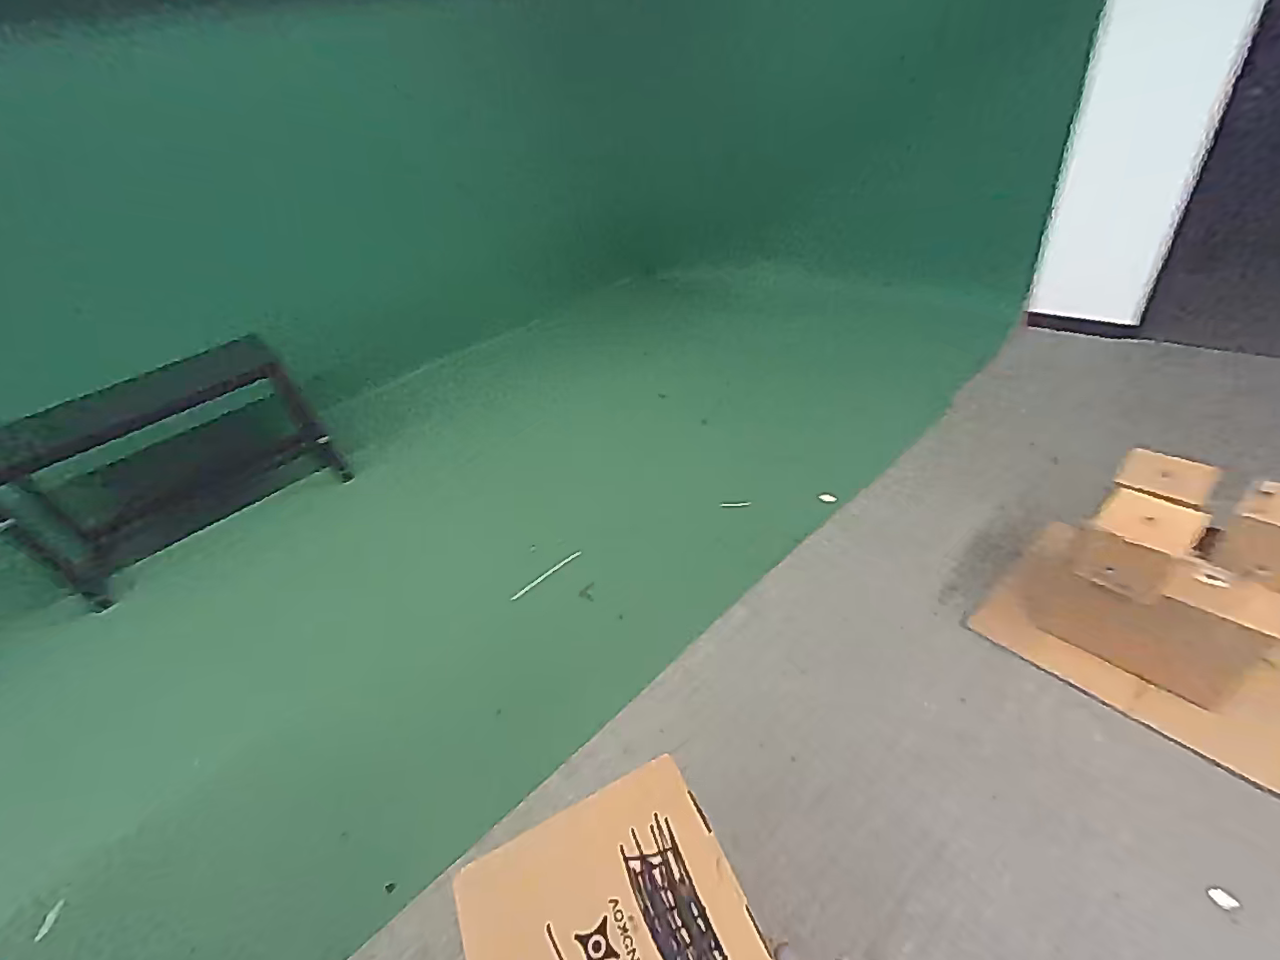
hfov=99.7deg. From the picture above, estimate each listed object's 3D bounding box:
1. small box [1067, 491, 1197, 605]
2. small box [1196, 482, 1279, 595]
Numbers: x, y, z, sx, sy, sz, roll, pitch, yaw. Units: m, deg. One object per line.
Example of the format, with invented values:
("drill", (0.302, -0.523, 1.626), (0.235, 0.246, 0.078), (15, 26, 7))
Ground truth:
("small box", (1.181, 0.163, 1.309), (0.179, 0.176, 0.168), (-35, 43, -24))
("small box", (1.463, 0.140, 1.251), (0.168, 0.176, 0.179), (-31, 40, -23))
